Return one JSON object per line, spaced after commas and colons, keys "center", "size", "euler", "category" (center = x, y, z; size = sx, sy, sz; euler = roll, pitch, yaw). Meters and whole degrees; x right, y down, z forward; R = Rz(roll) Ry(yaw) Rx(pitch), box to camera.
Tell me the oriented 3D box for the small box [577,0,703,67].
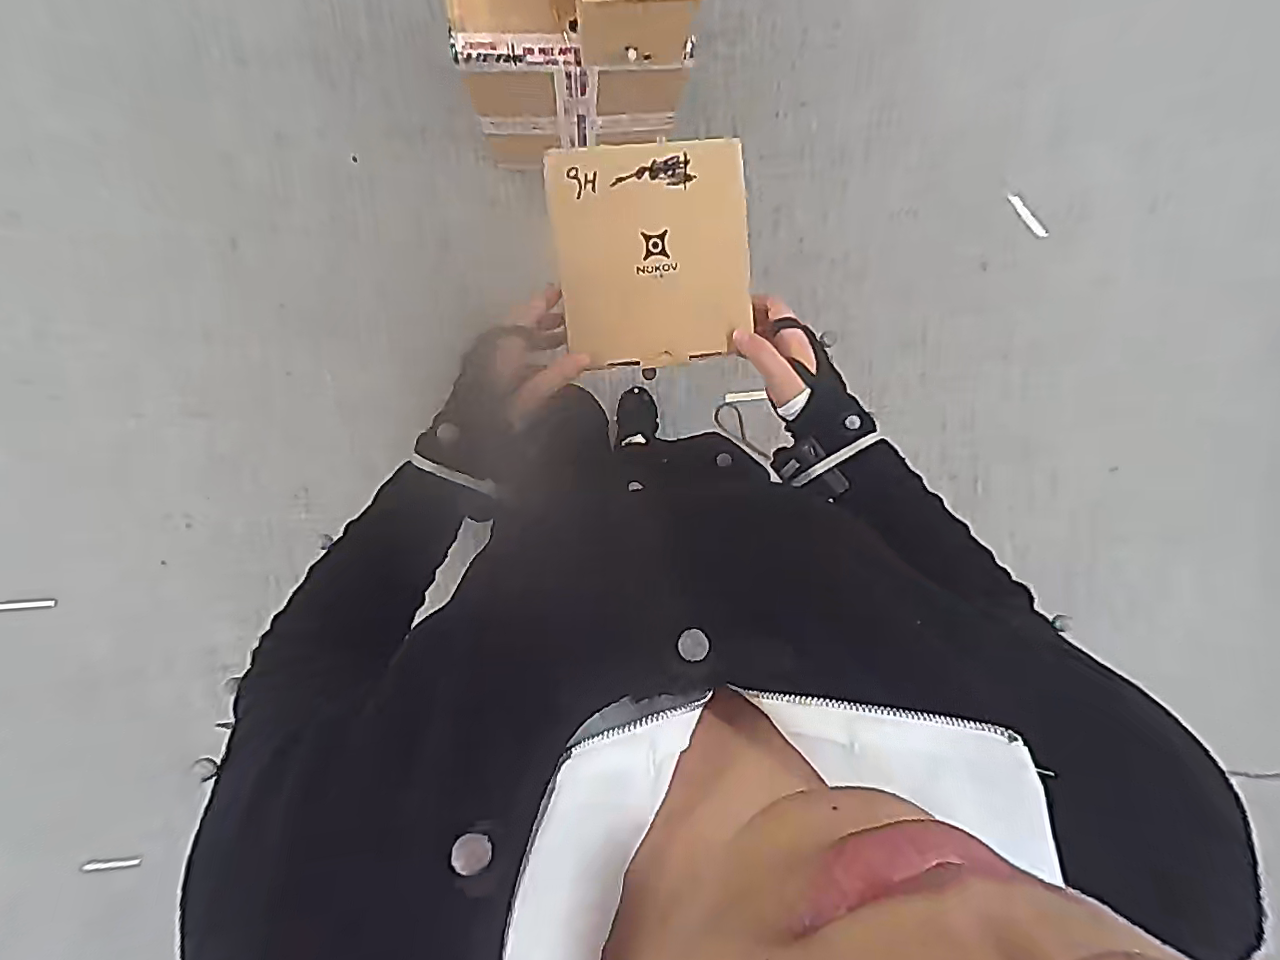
{"center": [-0.009, -0.735, 0.775], "size": [0.168, 0.176, 0.179], "euler": [-6, 104, -4], "category": "small box"}
